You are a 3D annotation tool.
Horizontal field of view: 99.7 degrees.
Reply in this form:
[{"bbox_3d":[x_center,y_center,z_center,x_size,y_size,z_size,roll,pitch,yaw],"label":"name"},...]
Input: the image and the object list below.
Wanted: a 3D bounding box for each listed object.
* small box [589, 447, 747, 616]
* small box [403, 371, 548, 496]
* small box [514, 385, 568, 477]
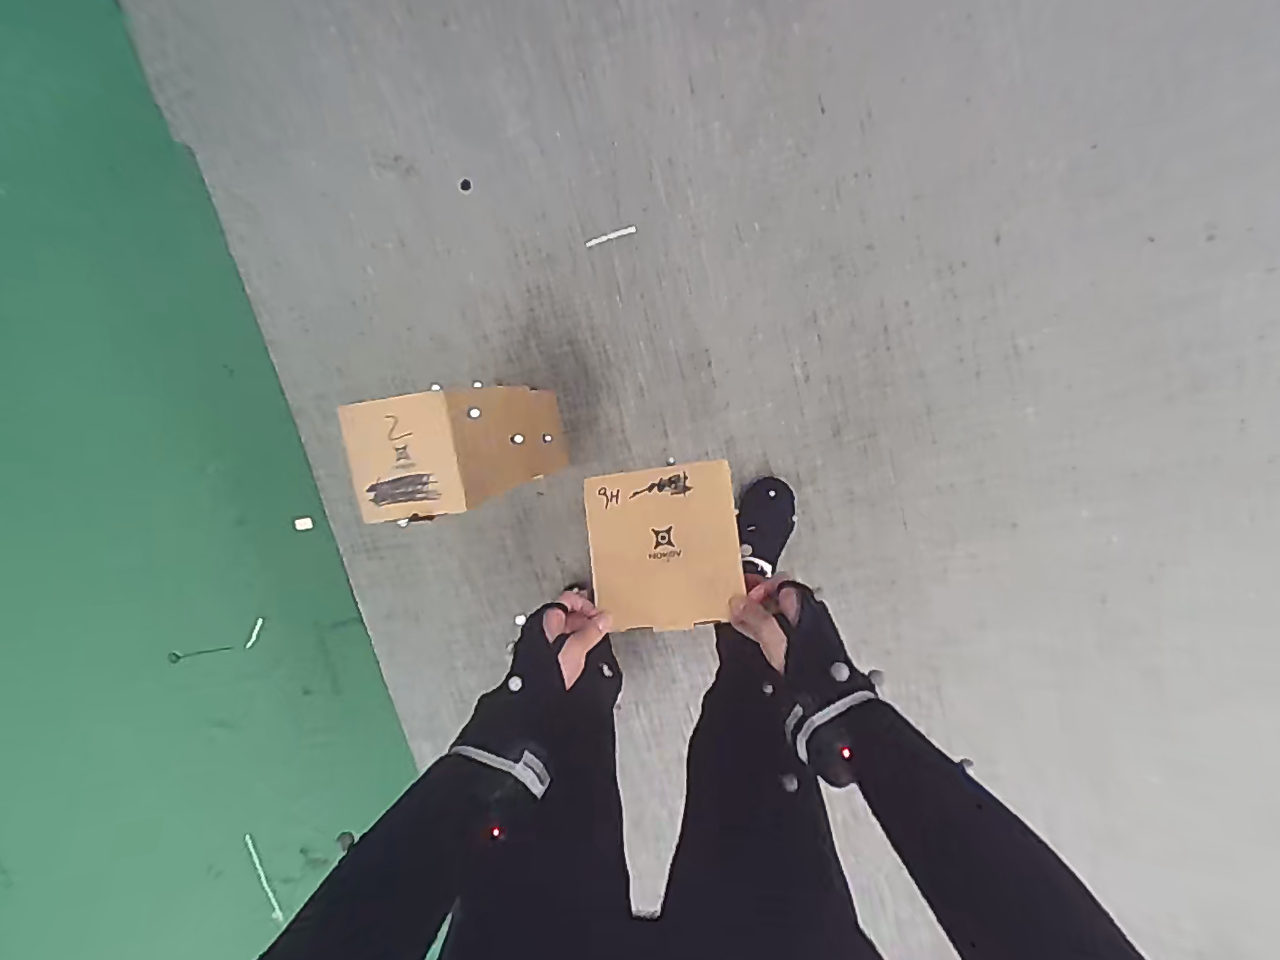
[{"bbox_3d":[0.043,0.063,0.675,0.168,0.176,0.179,-7,84,9],"label":"small box"},{"bbox_3d":[-0.297,-0.092,1.001,0.179,0.176,0.168,24,106,5],"label":"small box"},{"bbox_3d":[-0.265,-0.103,1.153,0.168,0.176,0.179,-8,99,11],"label":"small box"}]
